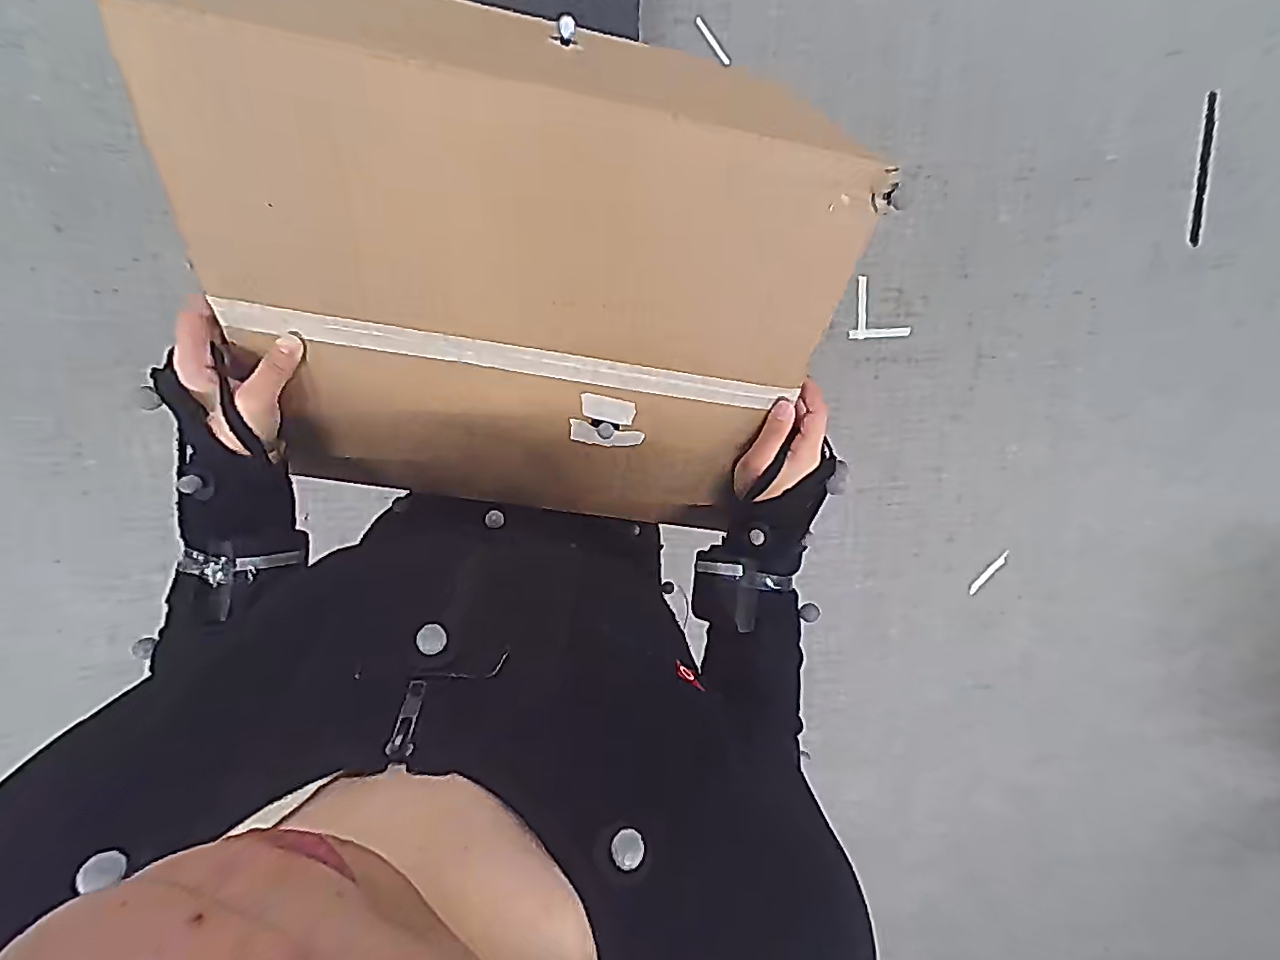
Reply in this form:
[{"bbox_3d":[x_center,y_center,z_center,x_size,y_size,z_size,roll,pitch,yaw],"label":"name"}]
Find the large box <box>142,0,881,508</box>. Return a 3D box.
[{"bbox_3d":[-0.081,-0.205,0.498,0.408,0.320,0.320,7,135,-7],"label":"large box"}]
